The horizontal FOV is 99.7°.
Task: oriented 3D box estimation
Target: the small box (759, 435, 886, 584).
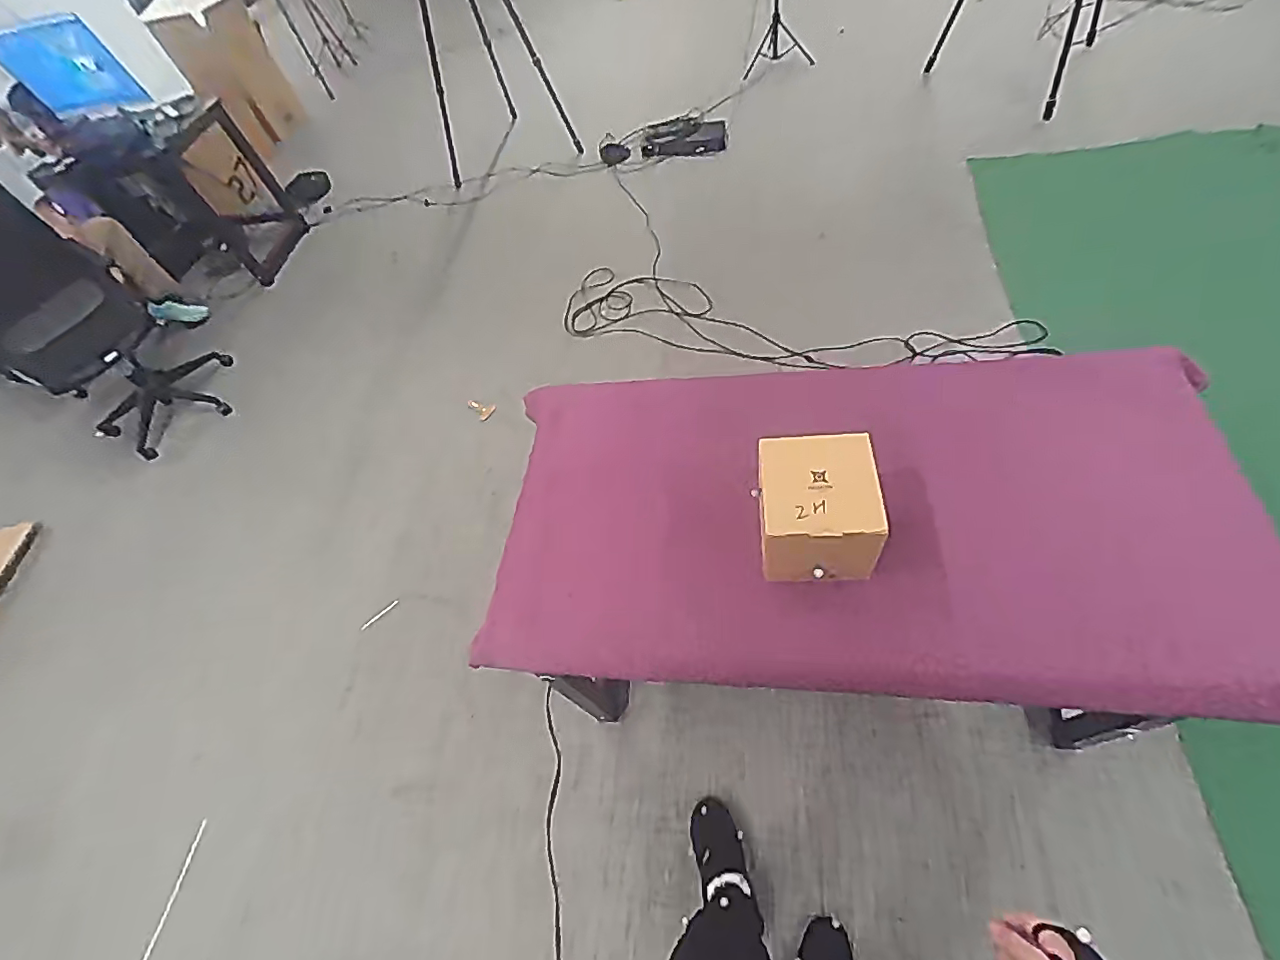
[{"bbox_3d":[0.275,0.049,0.857,0.168,0.176,0.179,-3,56,11],"label":"small box"}]
